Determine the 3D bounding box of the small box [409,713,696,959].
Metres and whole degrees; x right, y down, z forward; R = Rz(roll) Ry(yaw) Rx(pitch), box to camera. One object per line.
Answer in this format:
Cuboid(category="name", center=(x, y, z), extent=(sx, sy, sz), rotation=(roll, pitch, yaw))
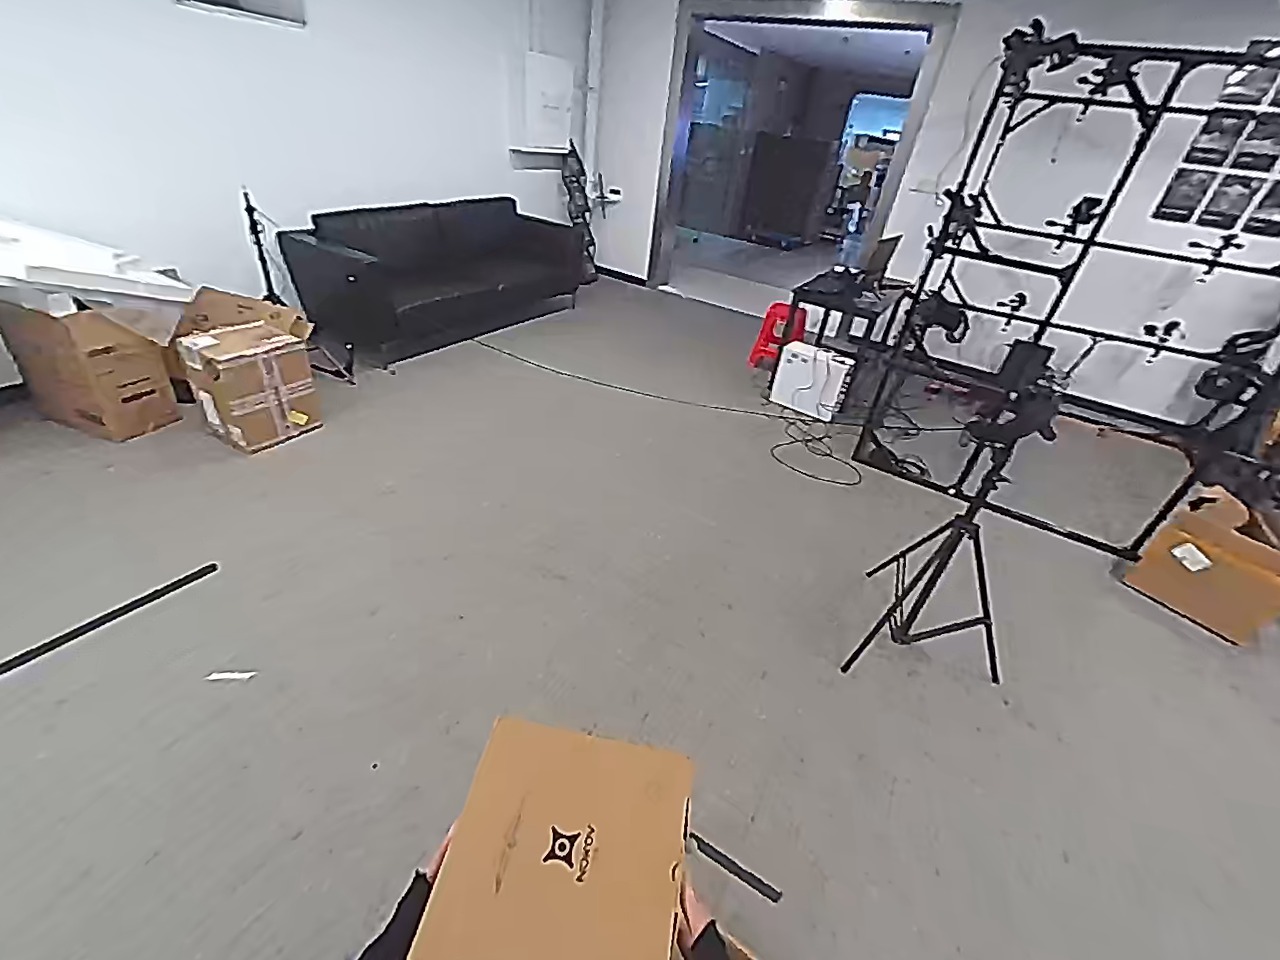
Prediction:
Cuboid(category="small box", center=(-0.055, 0.324, 0.454), extent=(0.179, 0.176, 0.168), rotation=(8, 43, 5))
